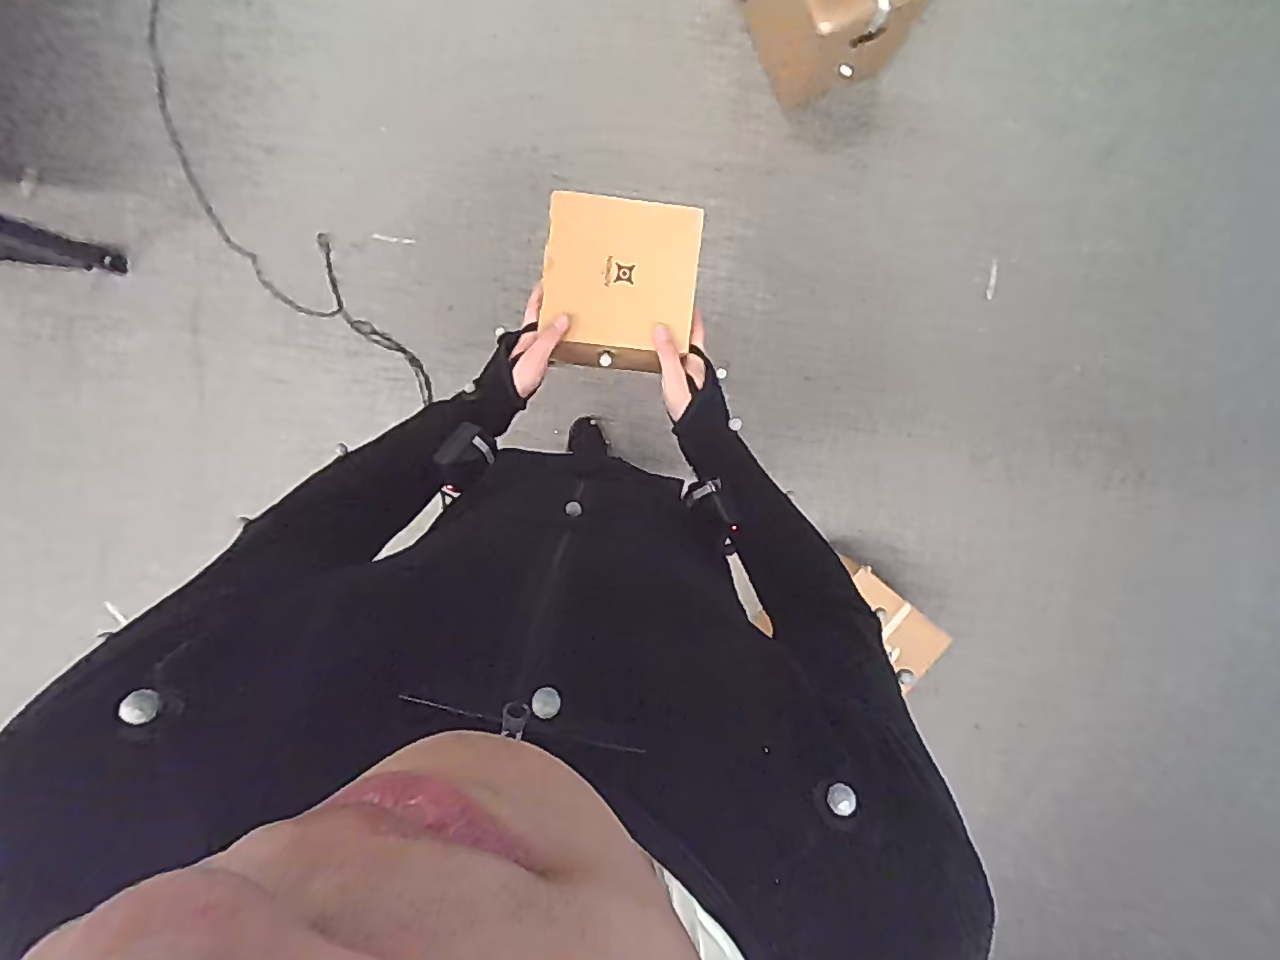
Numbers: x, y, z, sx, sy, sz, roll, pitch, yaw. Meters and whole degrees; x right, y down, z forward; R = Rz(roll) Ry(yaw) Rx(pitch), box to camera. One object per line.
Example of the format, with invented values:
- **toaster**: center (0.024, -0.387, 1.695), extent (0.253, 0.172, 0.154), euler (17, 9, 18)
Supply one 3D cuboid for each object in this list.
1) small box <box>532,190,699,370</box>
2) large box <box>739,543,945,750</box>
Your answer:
- **small box**: center (-0.029, -0.238, 0.686), extent (0.179, 0.176, 0.168), euler (5, 93, -1)
- **large box**: center (0.543, 0.447, 1.533), extent (0.320, 0.320, 0.408), euler (39, 92, -6)
